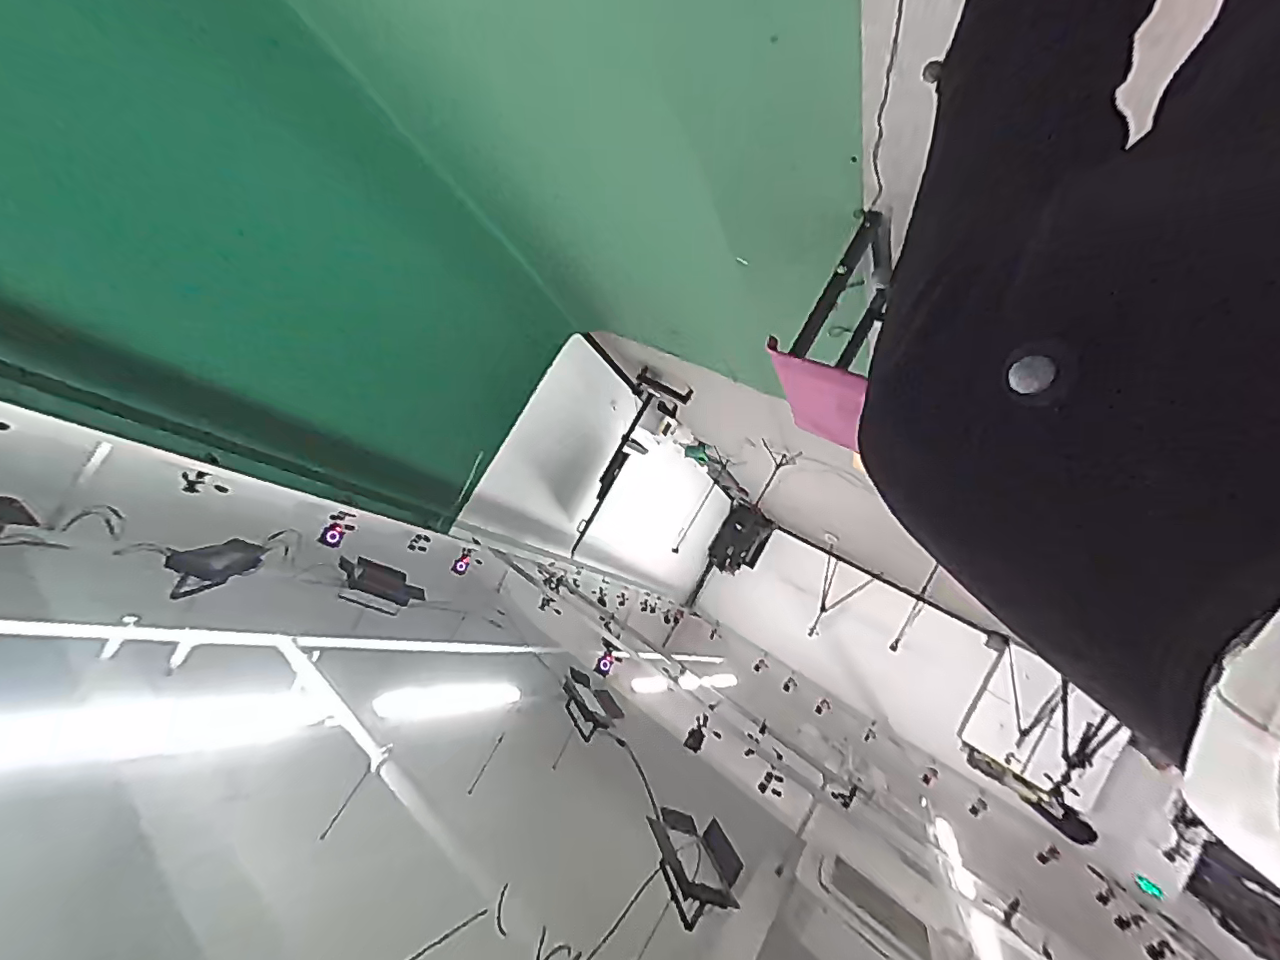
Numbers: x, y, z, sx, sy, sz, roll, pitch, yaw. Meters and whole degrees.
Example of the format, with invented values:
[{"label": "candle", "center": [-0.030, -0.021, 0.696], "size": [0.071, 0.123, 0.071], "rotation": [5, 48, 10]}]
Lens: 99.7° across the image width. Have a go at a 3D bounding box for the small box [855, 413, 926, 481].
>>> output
[{"label": "small box", "center": [0.917, -0.123, 1.984], "size": [0.179, 0.176, 0.168], "rotation": [29, 176, 22]}]
